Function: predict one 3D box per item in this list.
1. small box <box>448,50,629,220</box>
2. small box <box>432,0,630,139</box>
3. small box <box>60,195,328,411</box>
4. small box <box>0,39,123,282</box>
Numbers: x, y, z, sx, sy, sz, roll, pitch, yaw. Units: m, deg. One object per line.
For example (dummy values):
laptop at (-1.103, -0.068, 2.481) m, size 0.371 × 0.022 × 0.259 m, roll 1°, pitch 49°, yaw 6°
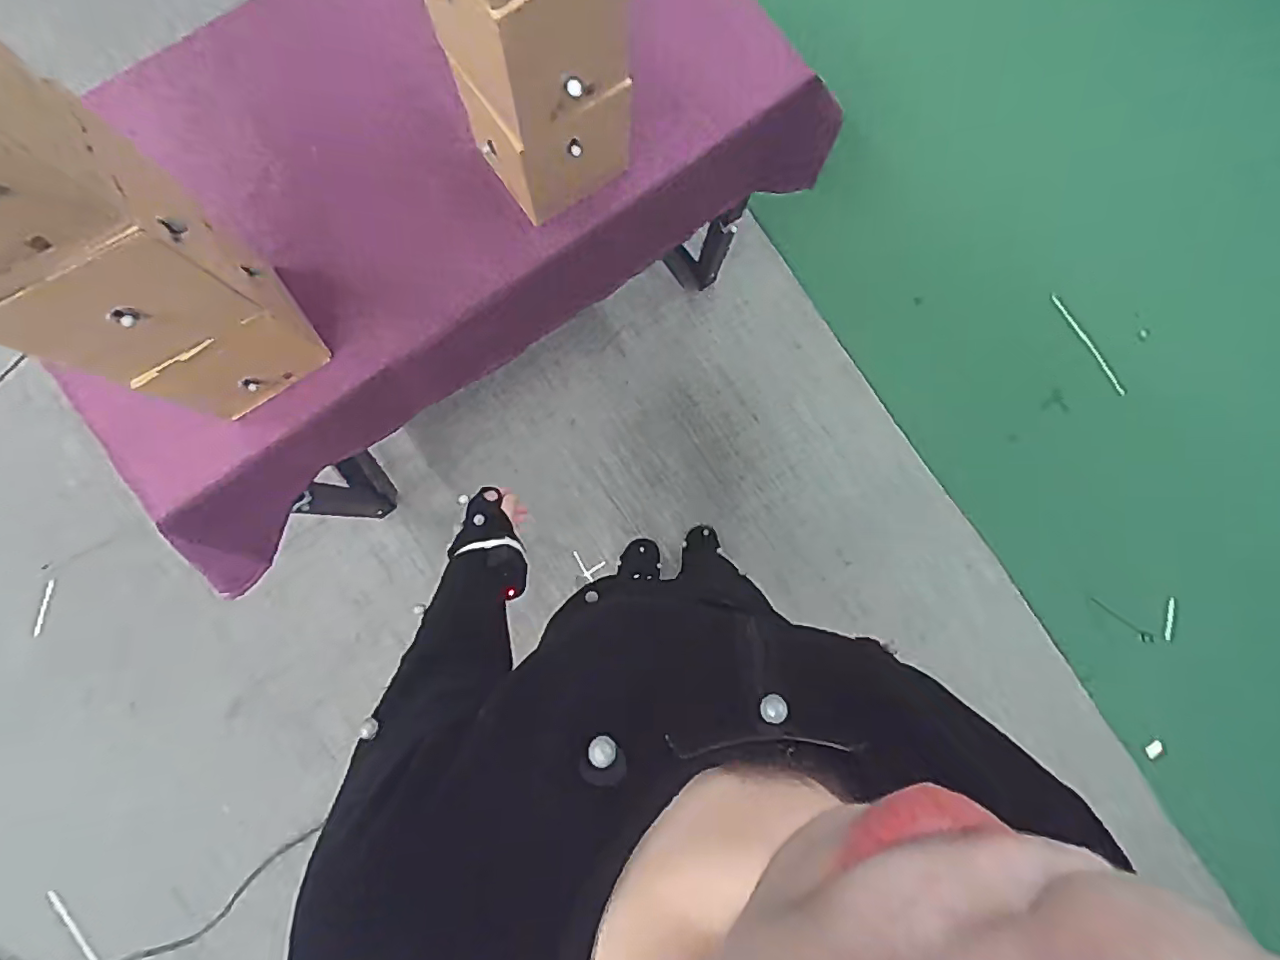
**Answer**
small box at (-0.129, -0.509, 0.757) m, size 0.179 × 0.176 × 0.168 m, roll -34°, pitch 87°, yaw -6°
small box at (-0.126, -0.533, 0.594) m, size 0.168 × 0.176 × 0.179 m, roll -37°, pitch 87°, yaw -6°
small box at (-0.557, -0.215, 0.704) m, size 0.168 × 0.176 × 0.179 m, roll -35°, pitch 87°, yaw -6°
small box at (-0.539, -0.257, 0.379) m, size 0.168 × 0.176 × 0.179 m, roll -34°, pitch 86°, yaw -7°
